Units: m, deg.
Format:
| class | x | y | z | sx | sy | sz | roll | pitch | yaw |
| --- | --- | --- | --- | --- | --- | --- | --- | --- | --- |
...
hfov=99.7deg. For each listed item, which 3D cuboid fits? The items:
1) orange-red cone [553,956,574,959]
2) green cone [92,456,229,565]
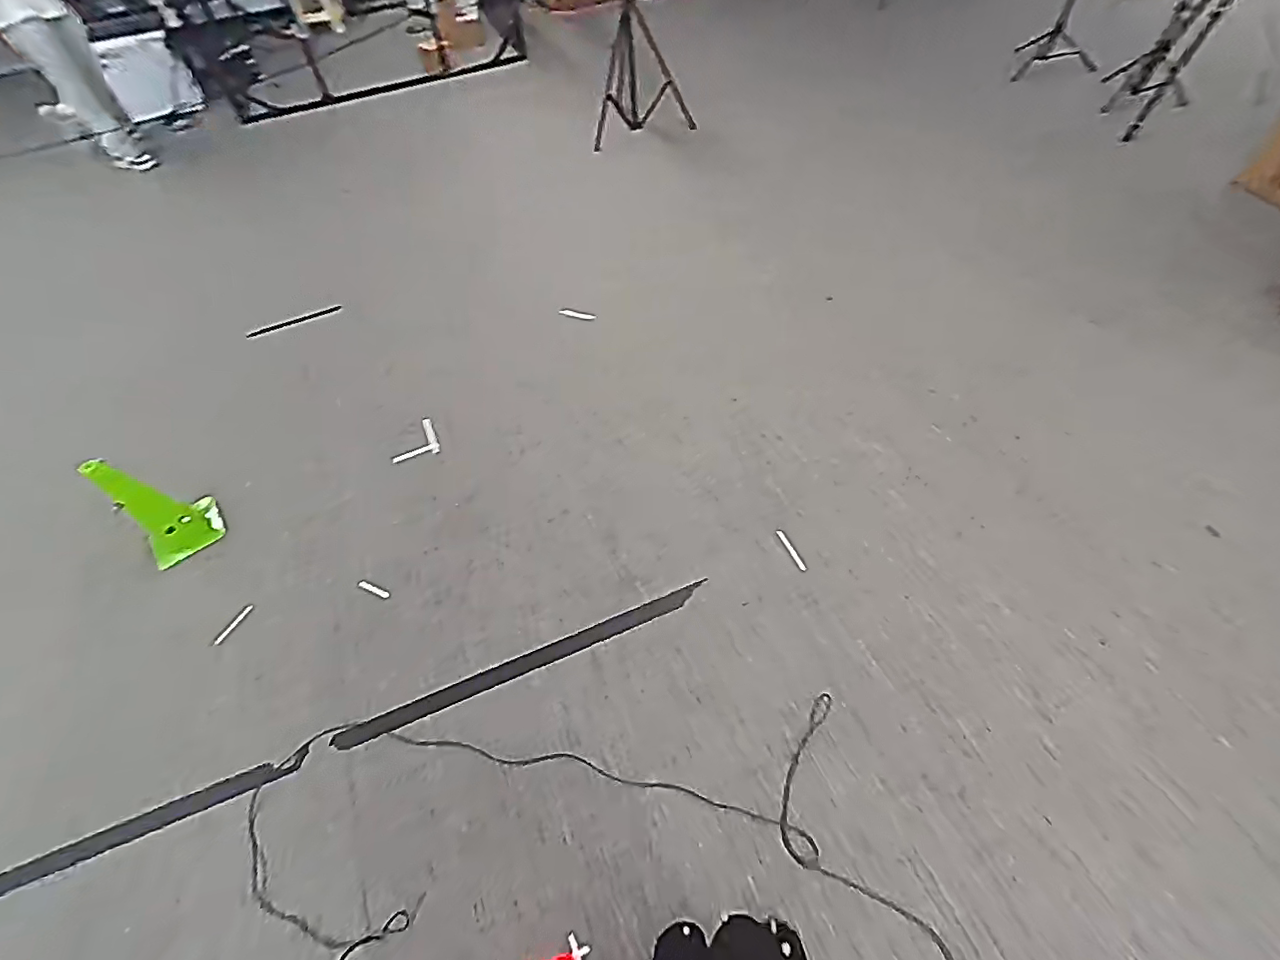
| class | x | y | z | sx | sy | sz | roll | pitch | yaw |
| --- | --- | --- | --- | --- | --- | --- | --- | --- | --- |
| orange-red cone | -0.209 | 0.934 | 0.867 | 0.199 | 0.360 | 0.198 | -15 | 54 | -5 |
| green cone | -1.453 | 0.058 | 1.600 | 0.202 | 0.368 | 0.200 | -34 | 59 | -20 |
